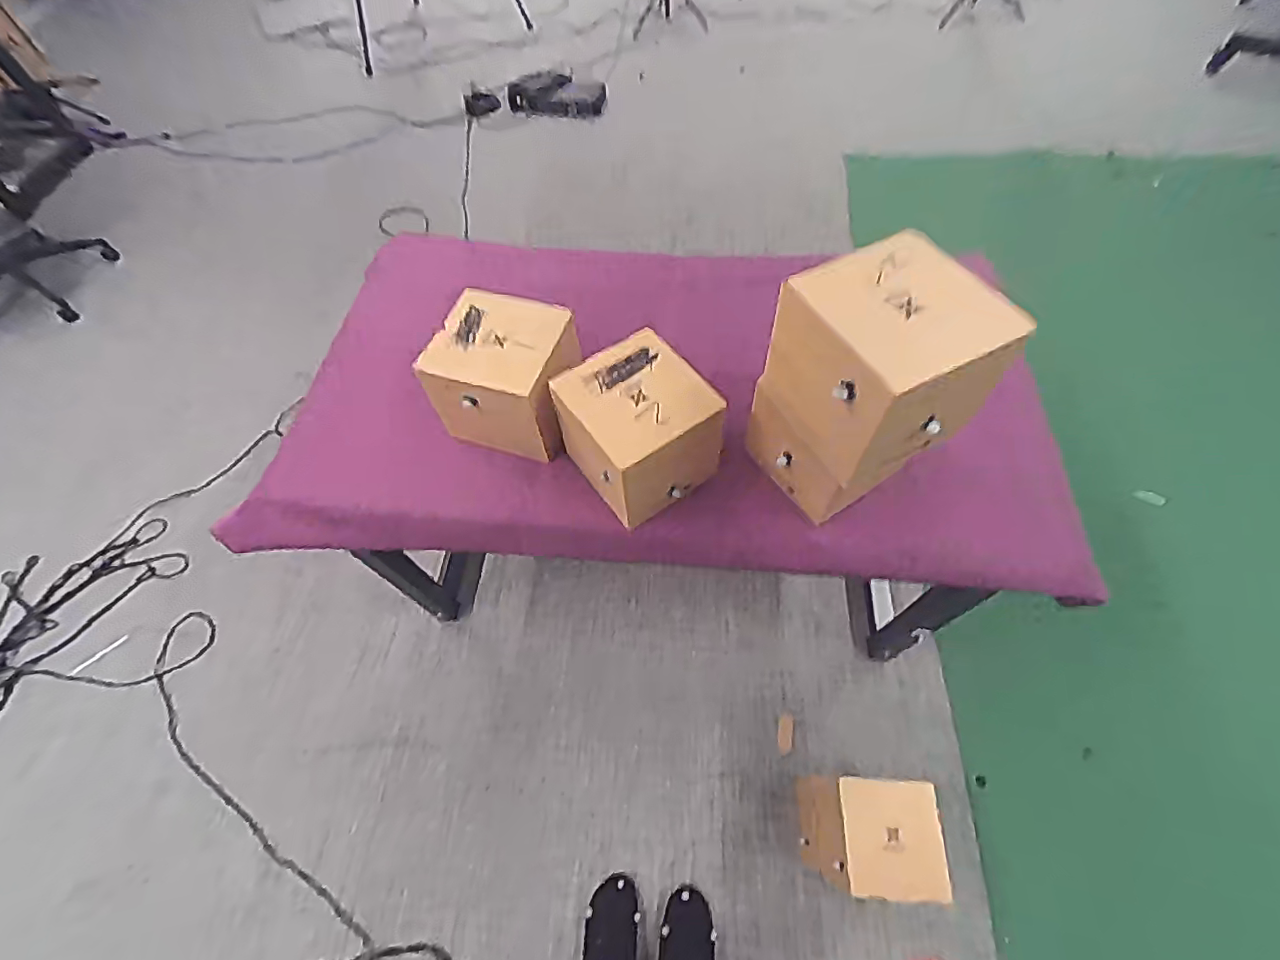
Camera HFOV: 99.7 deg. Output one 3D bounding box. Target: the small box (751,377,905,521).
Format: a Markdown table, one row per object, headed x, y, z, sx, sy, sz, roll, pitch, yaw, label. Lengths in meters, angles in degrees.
| x | y | z | sx | sy | sz | roll | pitch | yaw | label |
| --- | --- | --- | --- | --- | --- | --- | --- | --- | --- |
| 0.272 | -0.071 | 0.756 | 0.179 | 0.176 | 0.168 | -31 | 62 | -14 | small box |

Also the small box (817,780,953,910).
| x | y | z | sx | sy | sz | roll | pitch | yaw | label |
| --- | --- | --- | --- | --- | --- | --- | --- | --- | --- |
| 0.429 | 0.651 | 0.981 | 0.168 | 0.176 | 0.179 | 2 | 61 | 3 | small box |

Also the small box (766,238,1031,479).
| x | y | z | sx | sy | sz | roll | pitch | yaw | label |
| --- | --- | --- | --- | --- | --- | --- | --- | --- | --- |
| 0.260 | -0.123 | 0.595 | 0.168 | 0.176 | 0.179 | -24 | 59 | -11 | small box |

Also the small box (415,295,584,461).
| x | y | z | sx | sy | sz | roll | pitch | yaw | label |
| --- | --- | --- | --- | --- | --- | --- | --- | --- | --- |
| -0.200 | -0.150 | 0.827 | 0.179 | 0.176 | 0.168 | 15 | 61 | 10 | small box |

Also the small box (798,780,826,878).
| x | y | z | sx | sy | sz | roll | pitch | yaw | label |
| --- | --- | --- | --- | --- | --- | --- | --- | --- | --- |
| 0.430 | 0.730 | 1.122 | 0.179 | 0.176 | 0.168 | 4 | 60 | 5 | small box |
